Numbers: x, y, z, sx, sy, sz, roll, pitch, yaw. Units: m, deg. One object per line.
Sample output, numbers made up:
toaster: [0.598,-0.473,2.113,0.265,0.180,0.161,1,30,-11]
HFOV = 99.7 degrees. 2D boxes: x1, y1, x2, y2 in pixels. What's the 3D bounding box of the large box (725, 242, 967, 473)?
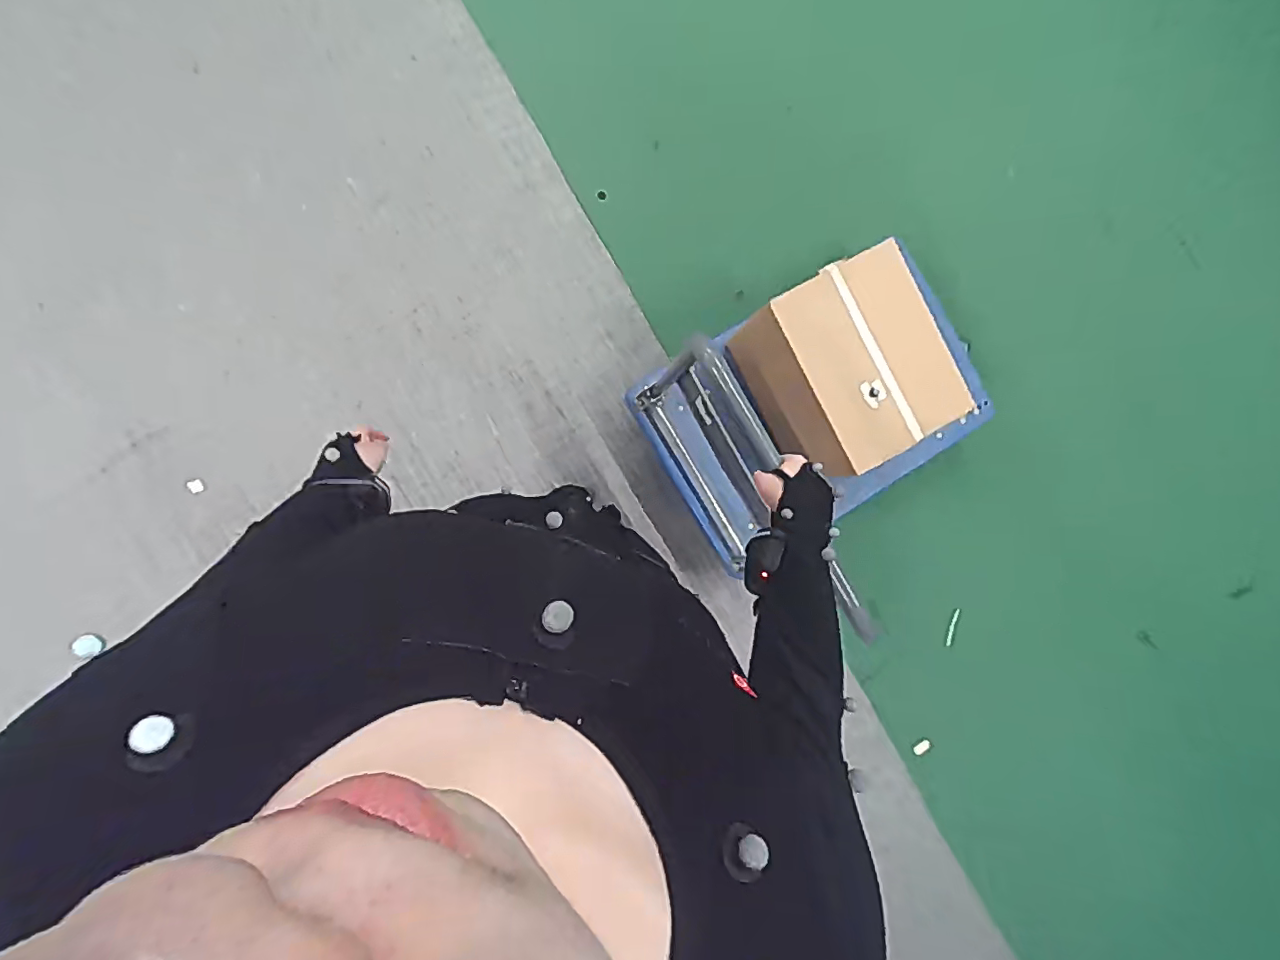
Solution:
large box: [0.461,-0.263,1.286,0.320,0.320,0.408,-29,93,-7]
